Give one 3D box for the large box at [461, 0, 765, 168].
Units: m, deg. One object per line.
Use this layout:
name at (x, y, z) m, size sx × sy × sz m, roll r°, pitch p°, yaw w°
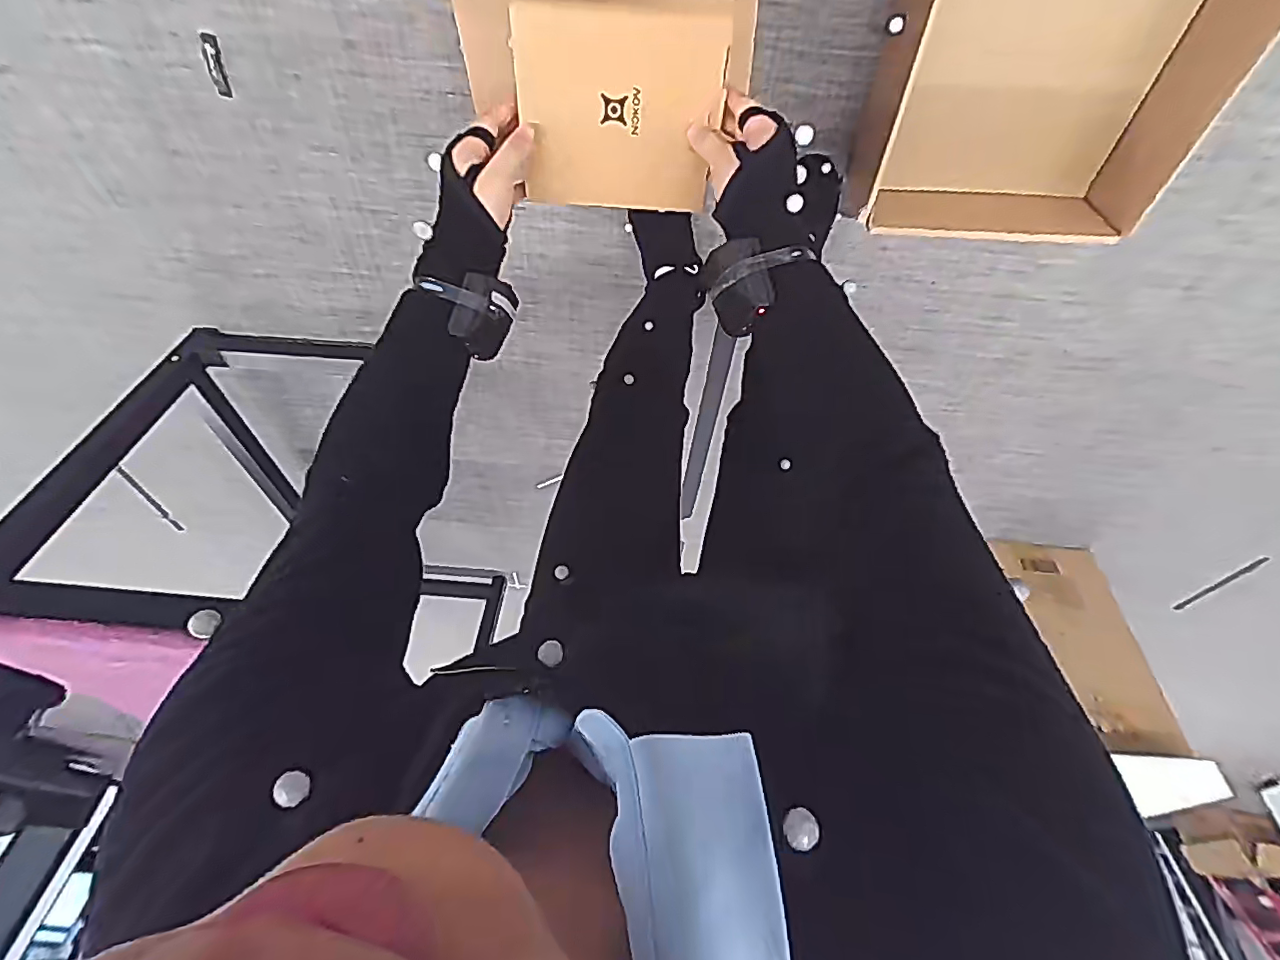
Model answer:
large box at (-0.023, -0.625, 0.600) m, size 0.320 × 0.320 × 0.408 m, roll 3°, pitch 142°, yaw 4°
